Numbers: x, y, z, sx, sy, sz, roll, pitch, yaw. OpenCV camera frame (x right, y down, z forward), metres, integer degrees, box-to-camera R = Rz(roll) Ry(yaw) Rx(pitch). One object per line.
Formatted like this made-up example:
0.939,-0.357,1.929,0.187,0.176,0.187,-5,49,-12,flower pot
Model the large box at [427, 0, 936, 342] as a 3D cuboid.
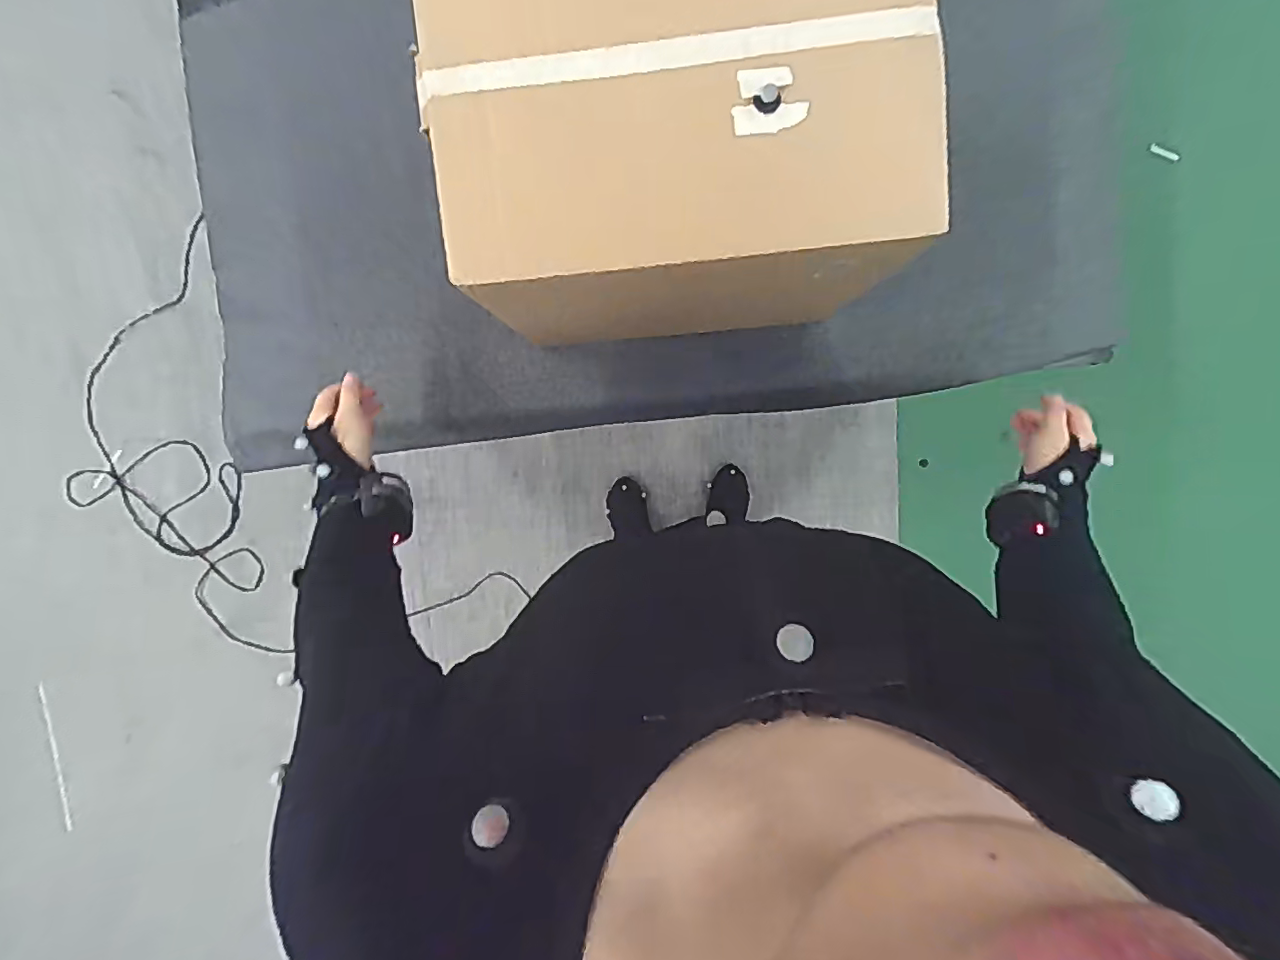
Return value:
0.033,-0.353,0.588,0.408,0.320,0.320,-6,95,2,large box
